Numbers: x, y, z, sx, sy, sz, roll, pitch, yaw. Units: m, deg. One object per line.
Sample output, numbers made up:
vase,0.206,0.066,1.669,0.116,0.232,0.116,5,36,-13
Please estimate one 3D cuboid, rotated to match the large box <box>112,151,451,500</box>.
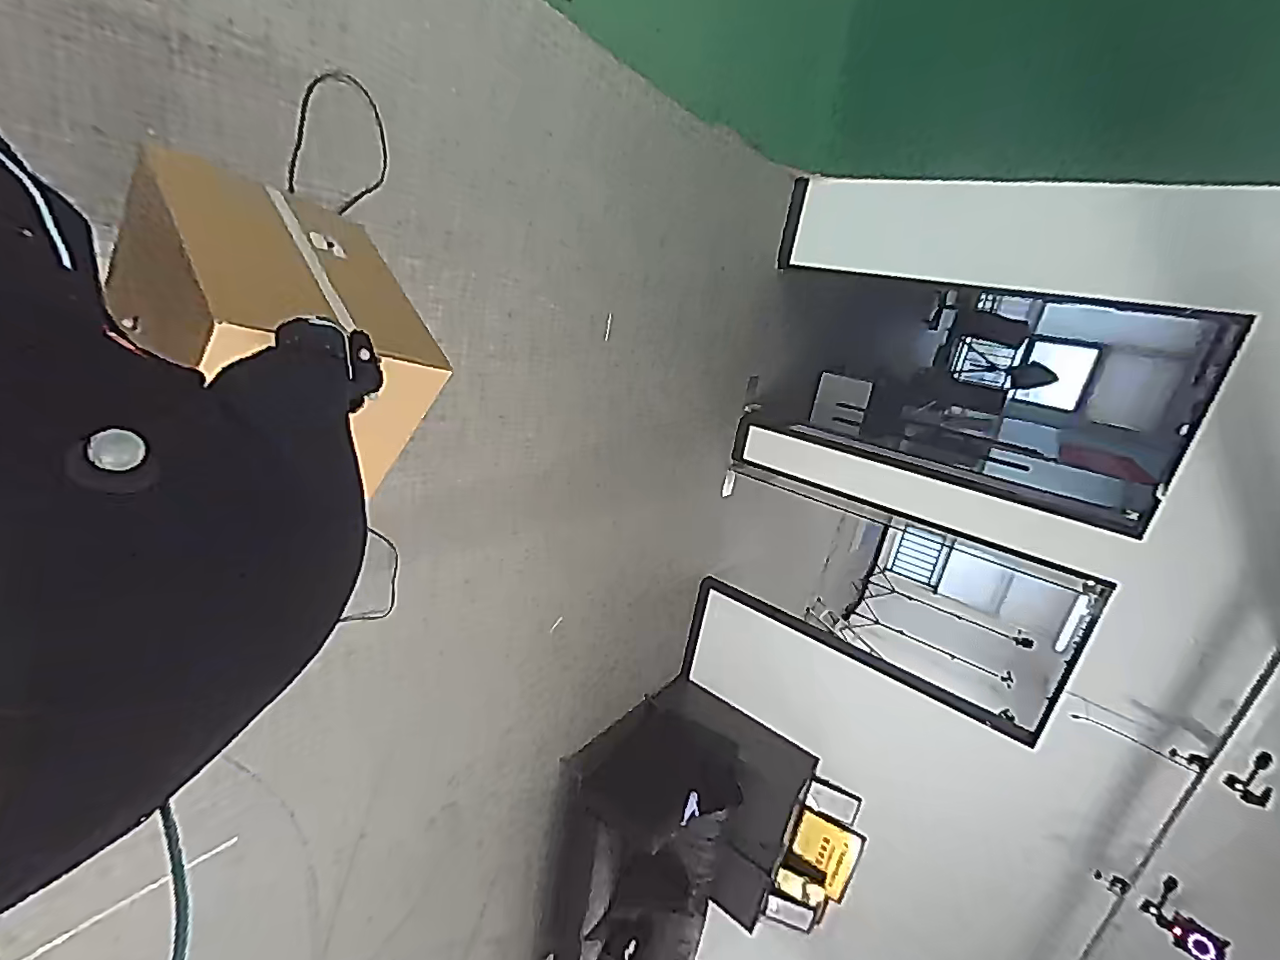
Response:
large box,-0.583,-0.217,0.871,0.320,0.408,0.320,-47,155,24
